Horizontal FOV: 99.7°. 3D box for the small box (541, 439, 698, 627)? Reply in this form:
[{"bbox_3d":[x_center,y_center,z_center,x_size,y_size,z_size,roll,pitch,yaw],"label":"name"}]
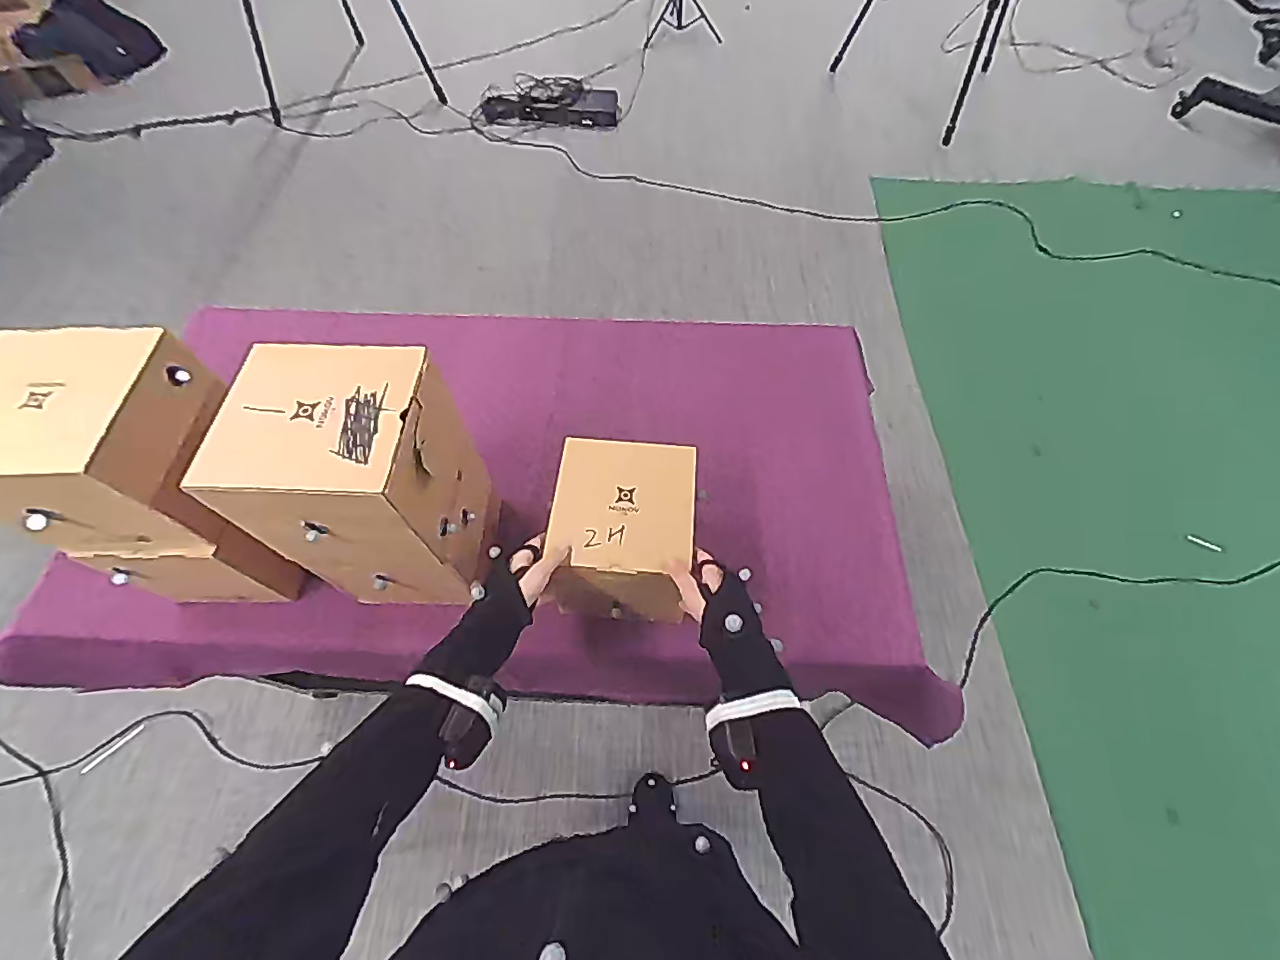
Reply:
[{"bbox_3d":[-0.019,0.071,0.694,0.168,0.176,0.179,5,58,3],"label":"small box"}]

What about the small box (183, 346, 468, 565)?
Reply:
[{"bbox_3d":[-0.296,-0.018,0.563,0.179,0.176,0.168,1,59,2],"label":"small box"}]

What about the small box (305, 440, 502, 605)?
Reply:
[{"bbox_3d":[-0.296,0.061,0.708,0.179,0.176,0.168,1,60,1],"label":"small box"}]

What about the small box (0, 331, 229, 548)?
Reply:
[{"bbox_3d":[-0.556,-0.034,0.576,0.168,0.176,0.179,-2,58,-1],"label":"small box"}]
